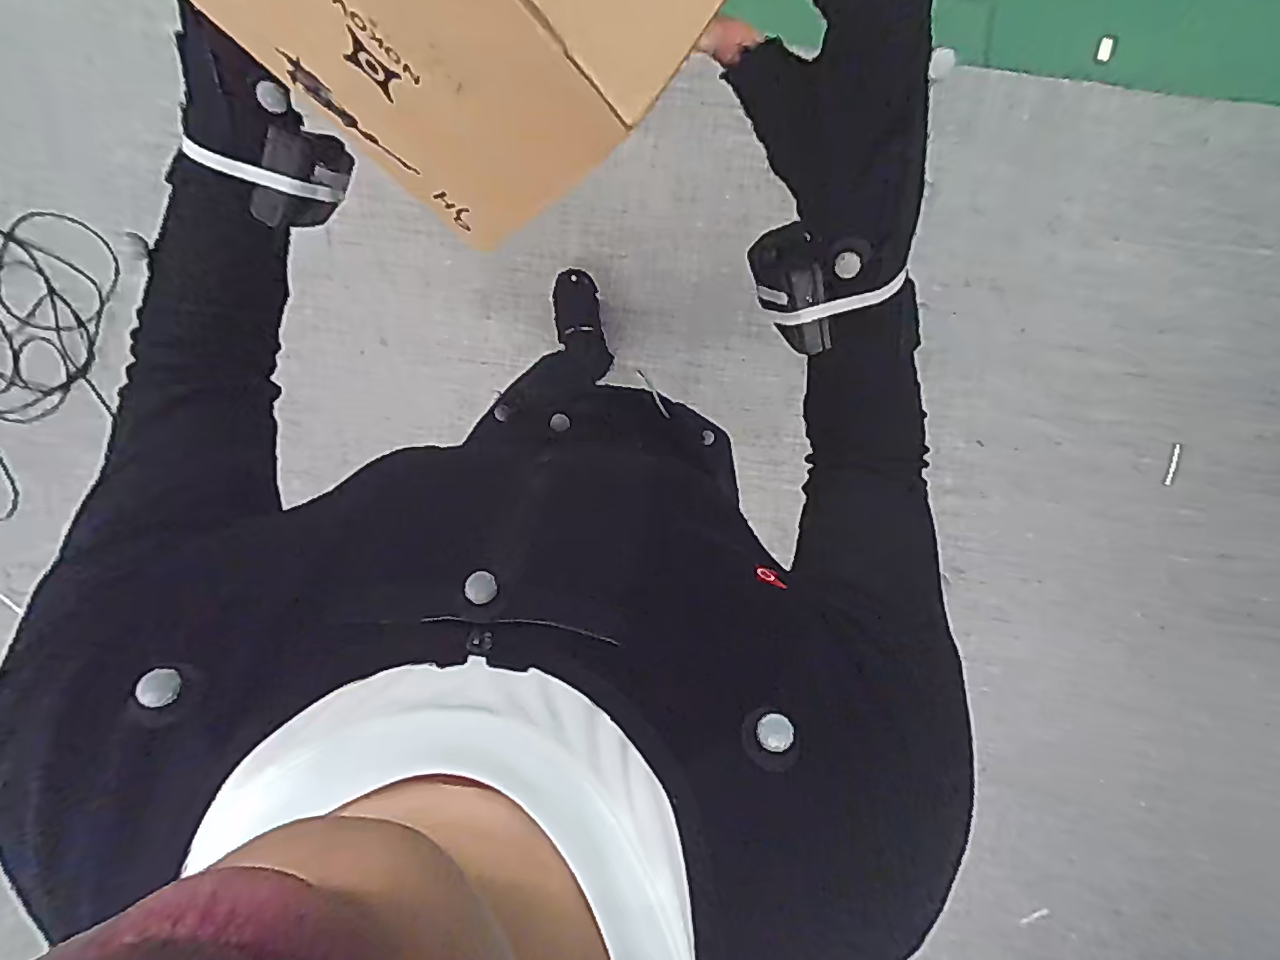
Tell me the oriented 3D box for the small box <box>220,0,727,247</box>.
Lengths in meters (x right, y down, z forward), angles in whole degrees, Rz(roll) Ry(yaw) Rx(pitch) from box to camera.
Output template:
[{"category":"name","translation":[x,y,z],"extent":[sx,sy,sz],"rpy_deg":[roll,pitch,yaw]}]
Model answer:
[{"category":"small box","translation":[-0.060,-0.249,0.244],"extent":[0.168,0.179,0.176],"rpy_deg":[39,74,-30]}]
